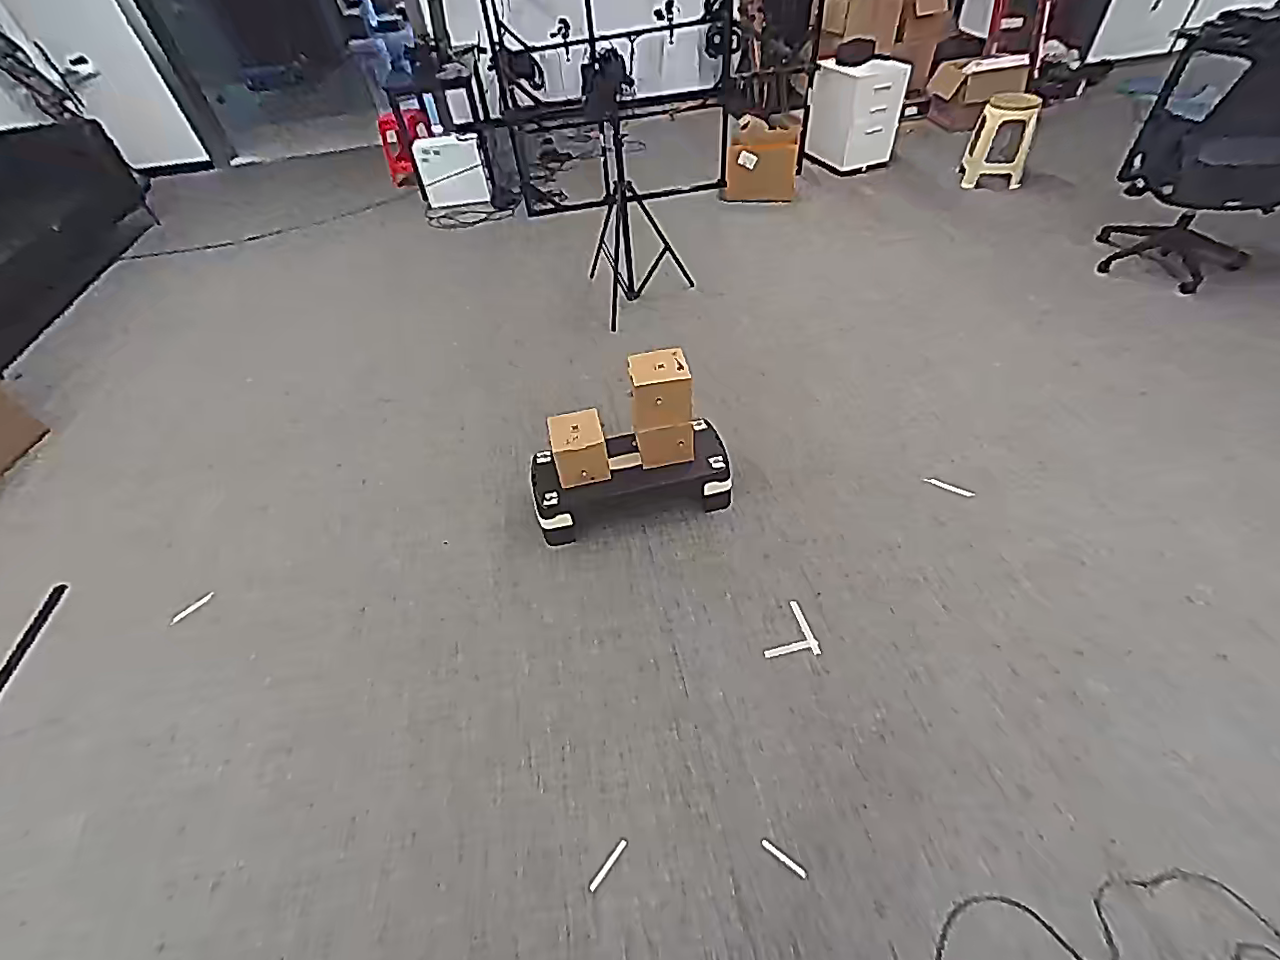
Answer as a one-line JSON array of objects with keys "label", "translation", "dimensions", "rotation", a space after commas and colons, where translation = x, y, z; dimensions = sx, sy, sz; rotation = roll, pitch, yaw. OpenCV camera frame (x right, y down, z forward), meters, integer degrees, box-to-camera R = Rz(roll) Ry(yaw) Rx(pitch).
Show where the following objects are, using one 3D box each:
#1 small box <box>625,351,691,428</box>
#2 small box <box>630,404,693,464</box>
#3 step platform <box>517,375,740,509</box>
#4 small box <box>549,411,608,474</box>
[{"label": "small box", "translation": [0.057, -0.280, 1.699], "dimensions": [0.179, 0.176, 0.168], "rotation": [-10, 47, -2]}, {"label": "small box", "translation": [0.071, -0.155, 1.804], "dimensions": [0.179, 0.176, 0.168], "rotation": [-12, 46, -5]}, {"label": "step platform", "translation": [-0.035, -0.122, 1.735], "dimensions": [0.684, 0.204, 0.286], "rotation": [-12, 47, -6]}, {"label": "small box", "translation": [-0.202, -0.098, 1.777], "dimensions": [0.168, 0.176, 0.179], "rotation": [-12, 47, -5]}]
